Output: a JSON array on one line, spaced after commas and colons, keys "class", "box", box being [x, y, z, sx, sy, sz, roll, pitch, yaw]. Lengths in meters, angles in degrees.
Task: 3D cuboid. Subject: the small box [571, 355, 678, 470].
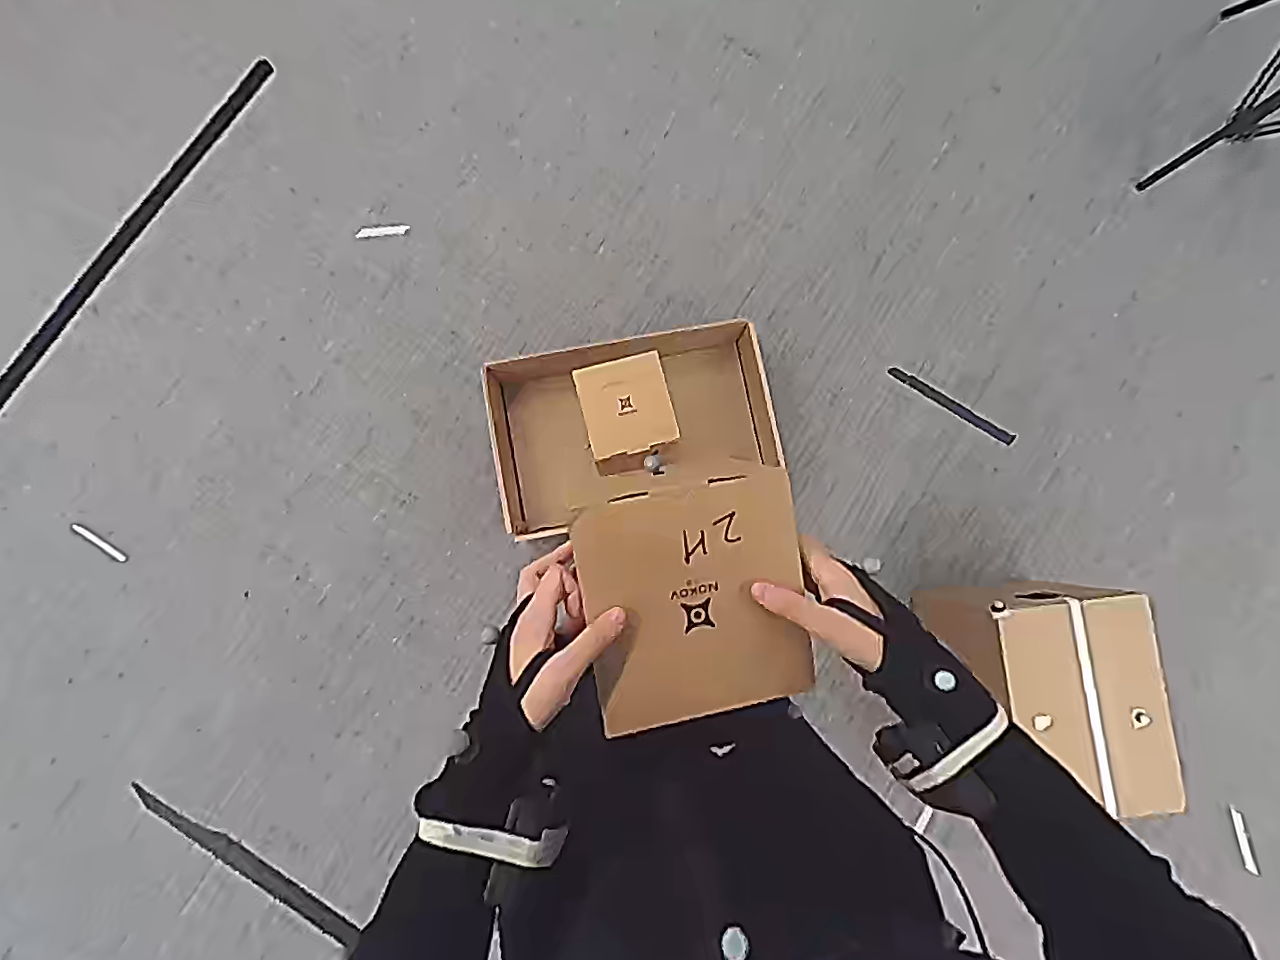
[{"class": "small box", "box": [-0.031, -0.123, 1.072, 0.168, 0.176, 0.179, -15, 84, -5]}]

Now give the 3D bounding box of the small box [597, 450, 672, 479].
[{"class": "small box", "box": [-0.030, -0.106, 1.234, 0.168, 0.176, 0.179, -11, 85, -3]}]
